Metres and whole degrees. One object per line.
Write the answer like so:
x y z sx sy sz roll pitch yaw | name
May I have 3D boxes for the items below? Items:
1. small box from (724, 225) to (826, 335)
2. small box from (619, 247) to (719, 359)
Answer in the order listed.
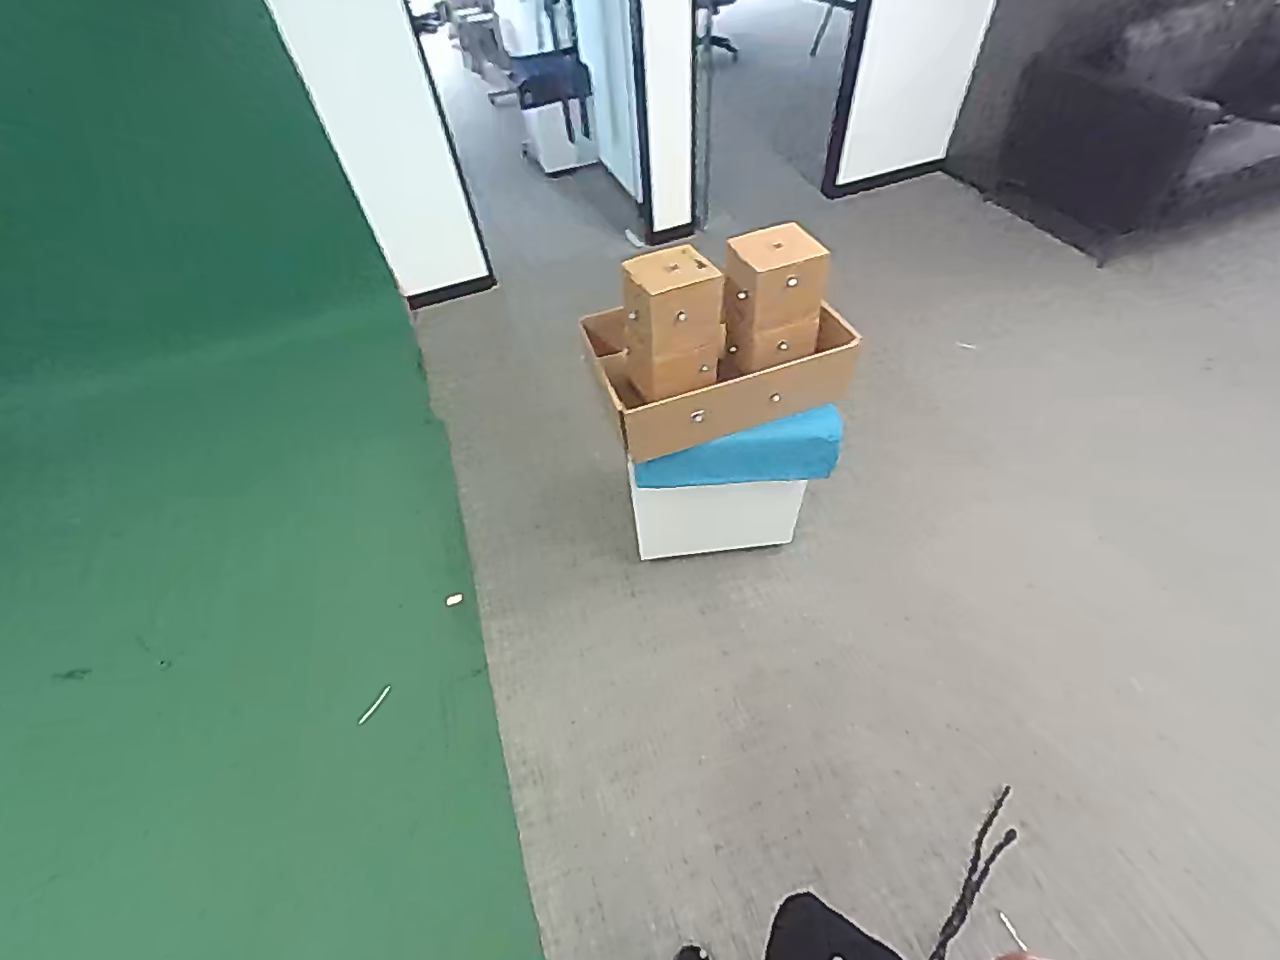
0.309 -0.466 1.271 0.179 0.176 0.168 -17 50 -8 | small box
0.069 -0.404 1.245 0.179 0.176 0.168 -21 51 -13 | small box
